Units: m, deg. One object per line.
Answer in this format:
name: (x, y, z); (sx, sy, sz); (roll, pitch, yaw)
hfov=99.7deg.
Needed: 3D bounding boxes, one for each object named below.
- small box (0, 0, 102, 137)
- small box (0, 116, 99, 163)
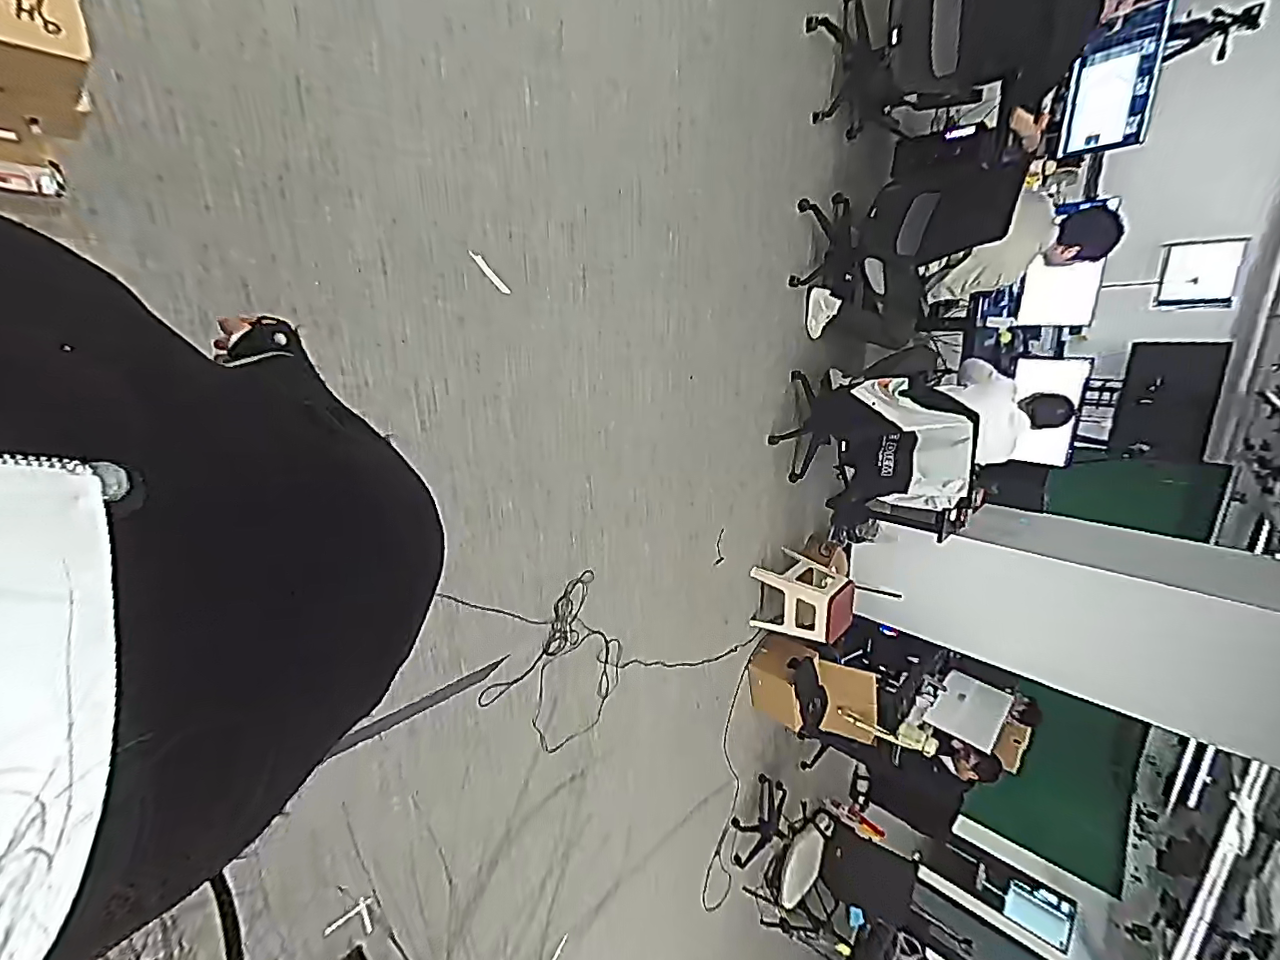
small box: (-0.597, -0.421, 0.454); (0.168, 0.176, 0.179); (-18, 114, -46)
small box: (-0.717, -0.445, 0.564); (0.179, 0.176, 0.168); (-21, 116, -44)
